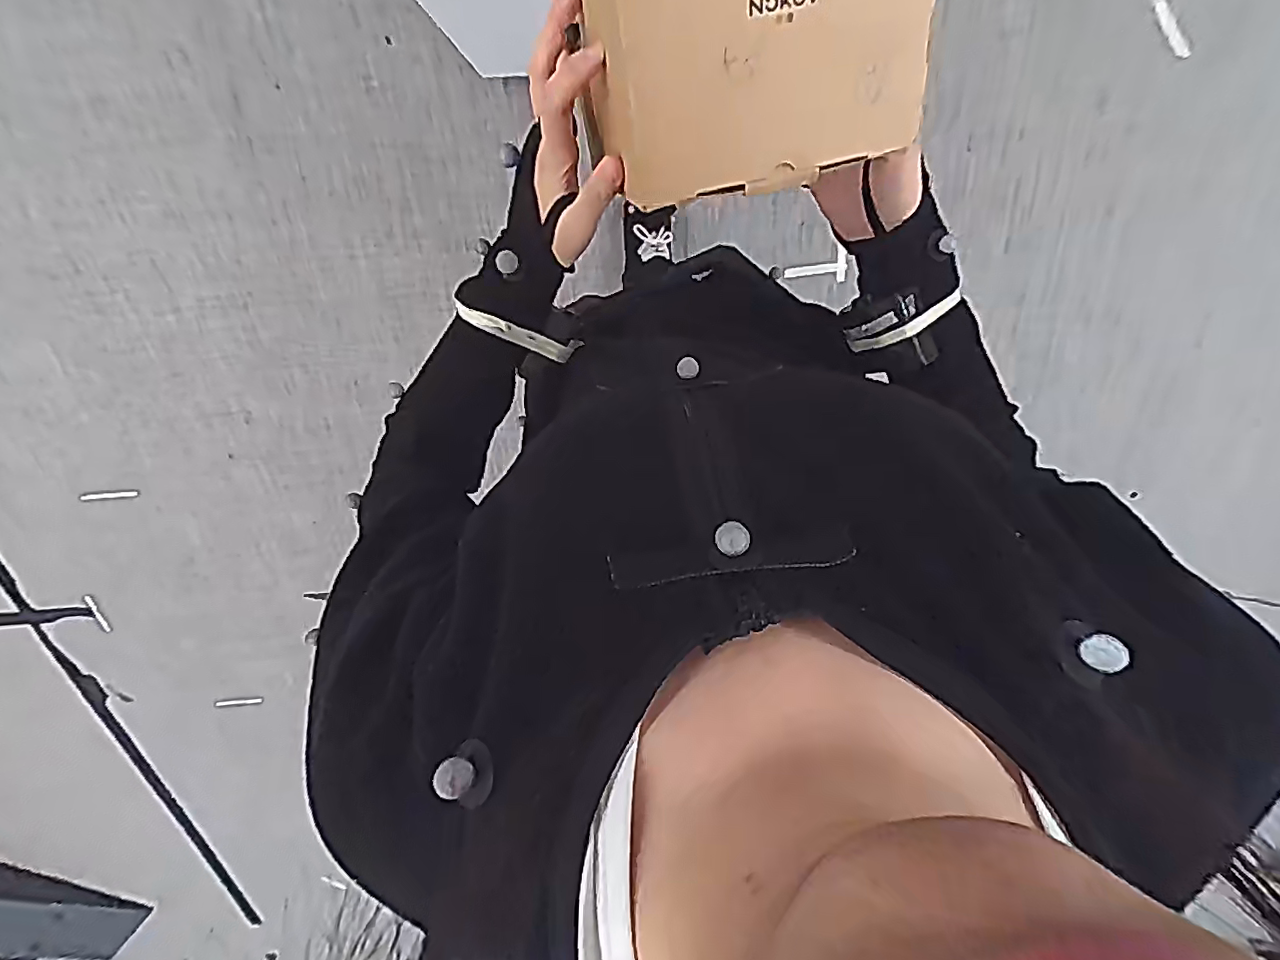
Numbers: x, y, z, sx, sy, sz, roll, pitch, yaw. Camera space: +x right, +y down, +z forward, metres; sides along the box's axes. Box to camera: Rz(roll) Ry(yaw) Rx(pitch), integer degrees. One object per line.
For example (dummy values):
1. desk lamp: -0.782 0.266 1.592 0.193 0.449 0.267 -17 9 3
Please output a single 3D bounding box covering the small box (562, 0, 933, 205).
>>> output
1. small box: 0.048 -0.286 0.315 0.168 0.176 0.179 -16 129 -6
